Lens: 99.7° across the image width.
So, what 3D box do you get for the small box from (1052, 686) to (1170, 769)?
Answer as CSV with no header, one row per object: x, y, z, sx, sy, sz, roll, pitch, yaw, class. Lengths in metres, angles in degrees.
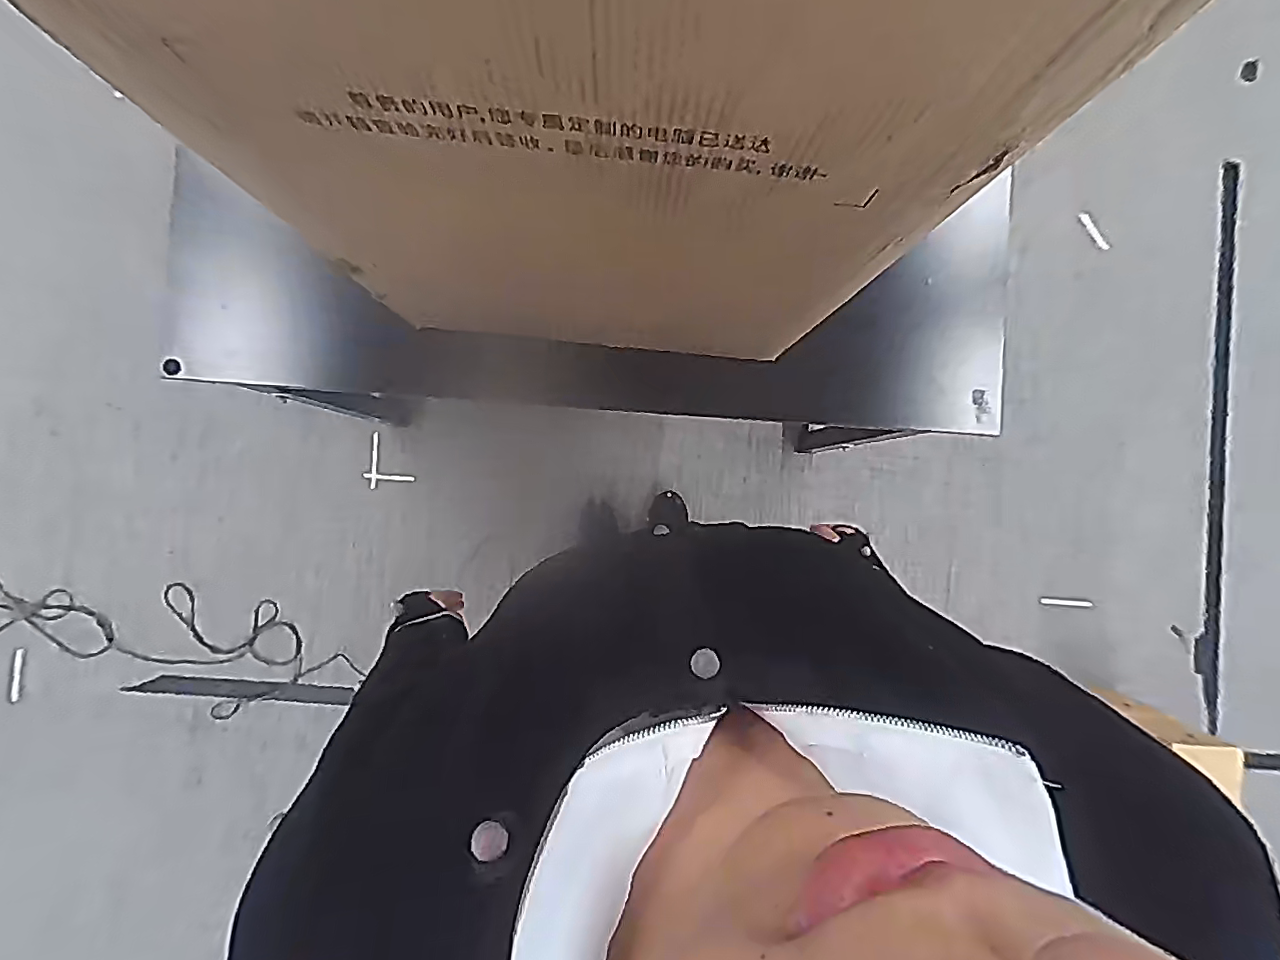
1.285,0.679,1.484,0.179,0.176,0.168,4,88,-2,small box

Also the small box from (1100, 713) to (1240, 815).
1.284,0.684,1.318,0.179,0.176,0.168,5,88,-3,small box
